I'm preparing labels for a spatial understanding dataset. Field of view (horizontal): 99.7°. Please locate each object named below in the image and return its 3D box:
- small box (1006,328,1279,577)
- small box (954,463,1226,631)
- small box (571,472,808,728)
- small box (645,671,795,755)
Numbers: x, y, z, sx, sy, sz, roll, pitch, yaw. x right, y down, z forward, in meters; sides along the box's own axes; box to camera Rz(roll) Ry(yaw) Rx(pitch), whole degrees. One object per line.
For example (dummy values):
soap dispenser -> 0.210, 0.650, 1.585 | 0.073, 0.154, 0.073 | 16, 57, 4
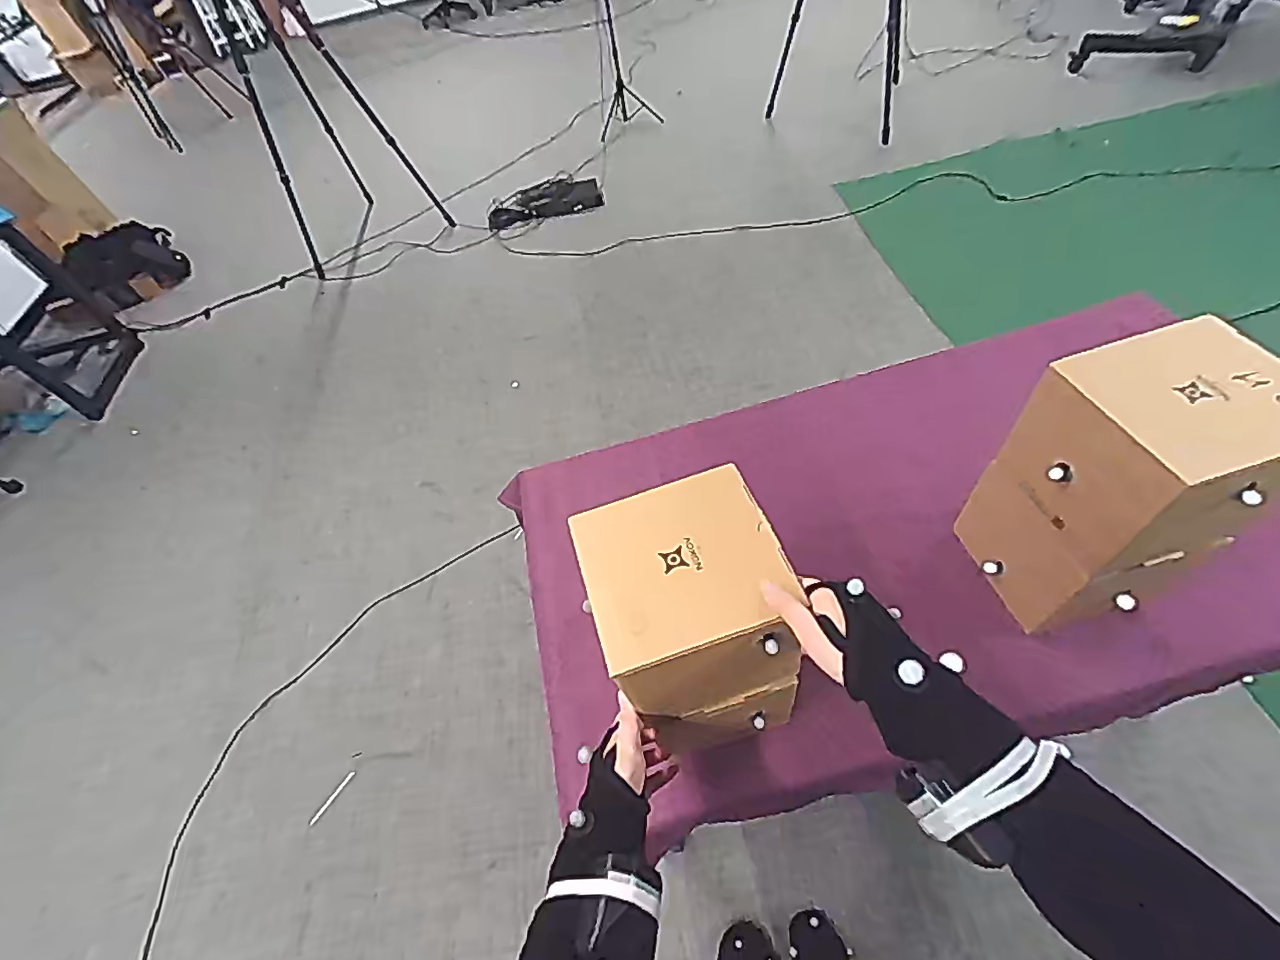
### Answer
small box -> 0.522, -0.021, 0.559 | 0.179, 0.176, 0.168 | -16, 52, -1
small box -> 0.545, 0.077, 0.691 | 0.168, 0.176, 0.179 | -15, 52, -1
small box -> 0.047, 0.126, 0.545 | 0.179, 0.176, 0.168 | -18, 51, -4
small box -> 0.078, 0.224, 0.672 | 0.168, 0.176, 0.179 | -16, 51, -2
